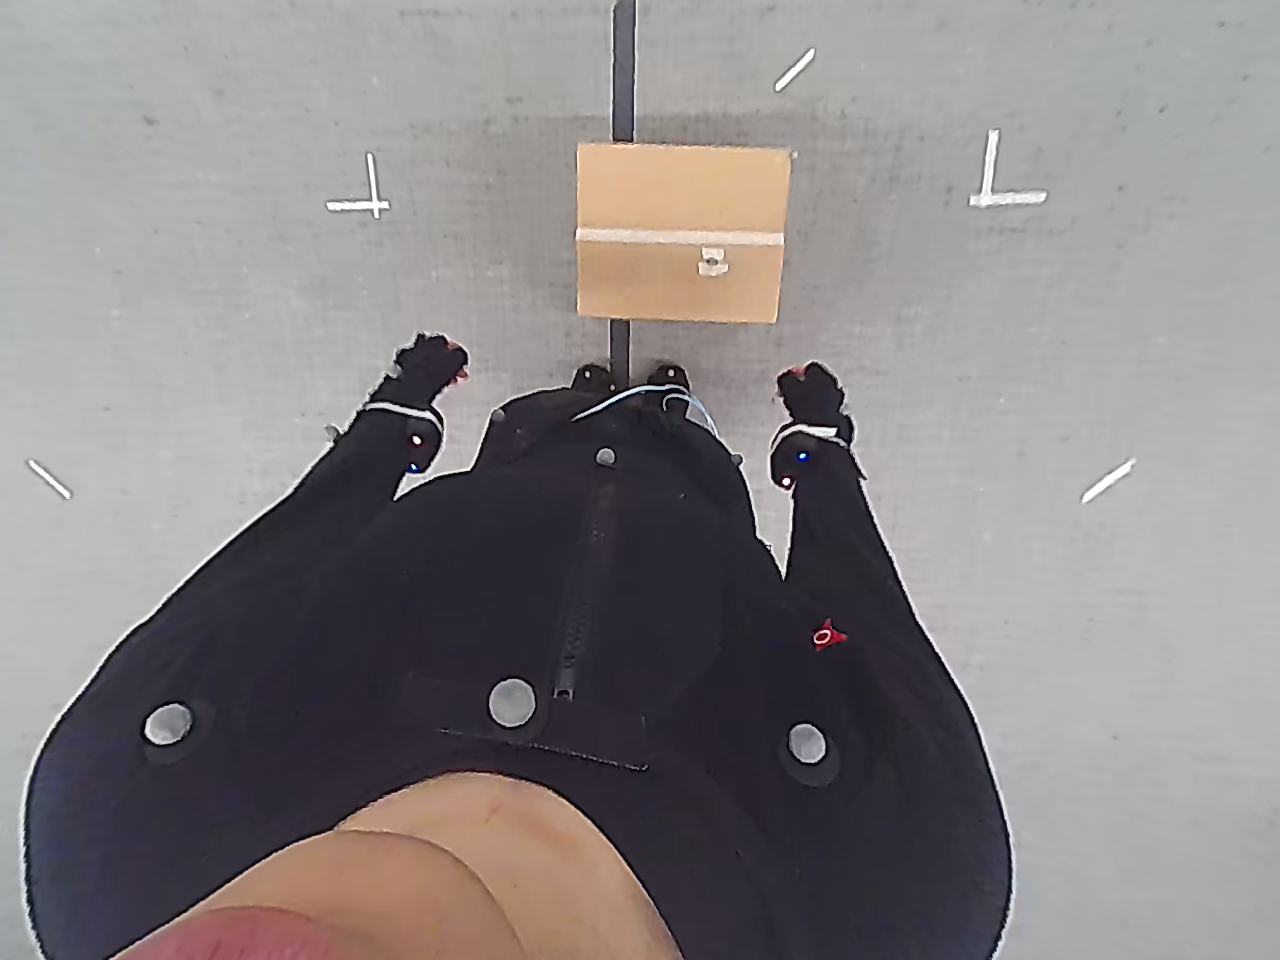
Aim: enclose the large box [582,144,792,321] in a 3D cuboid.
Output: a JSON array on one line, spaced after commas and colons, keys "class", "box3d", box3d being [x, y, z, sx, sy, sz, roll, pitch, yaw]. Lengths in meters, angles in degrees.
[{"class": "large box", "box3d": [0.086, -0.522, 1.206, 0.408, 0.320, 0.320, 2, 107, 0]}]
